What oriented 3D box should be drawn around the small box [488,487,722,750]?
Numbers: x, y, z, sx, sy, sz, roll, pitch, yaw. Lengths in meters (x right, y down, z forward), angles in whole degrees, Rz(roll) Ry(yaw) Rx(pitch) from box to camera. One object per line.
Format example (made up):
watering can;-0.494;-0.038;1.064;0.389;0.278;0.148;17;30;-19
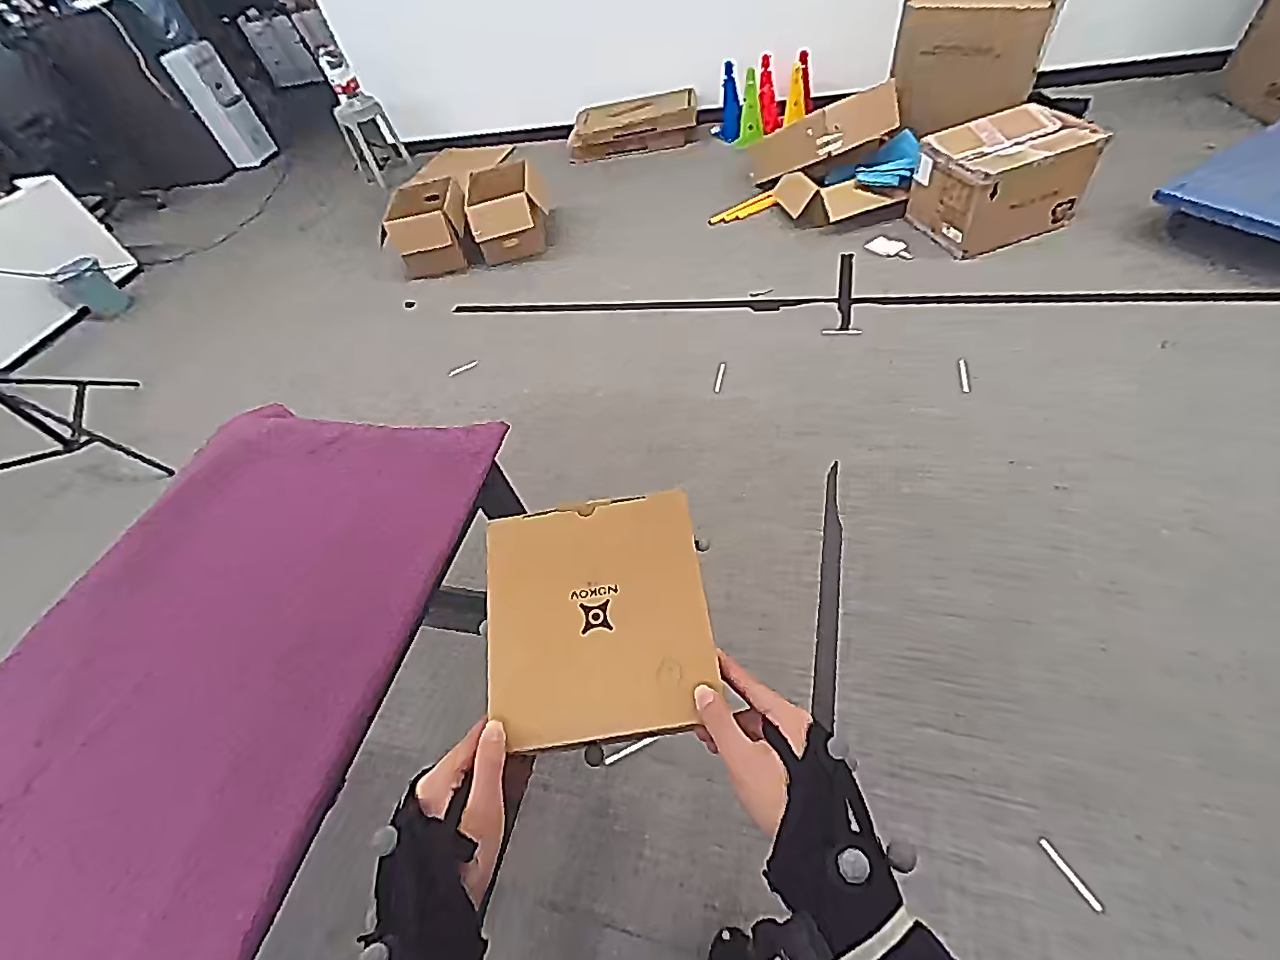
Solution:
small box;-0.025;0.130;0.474;0.168;0.176;0.179;-9;62;1
